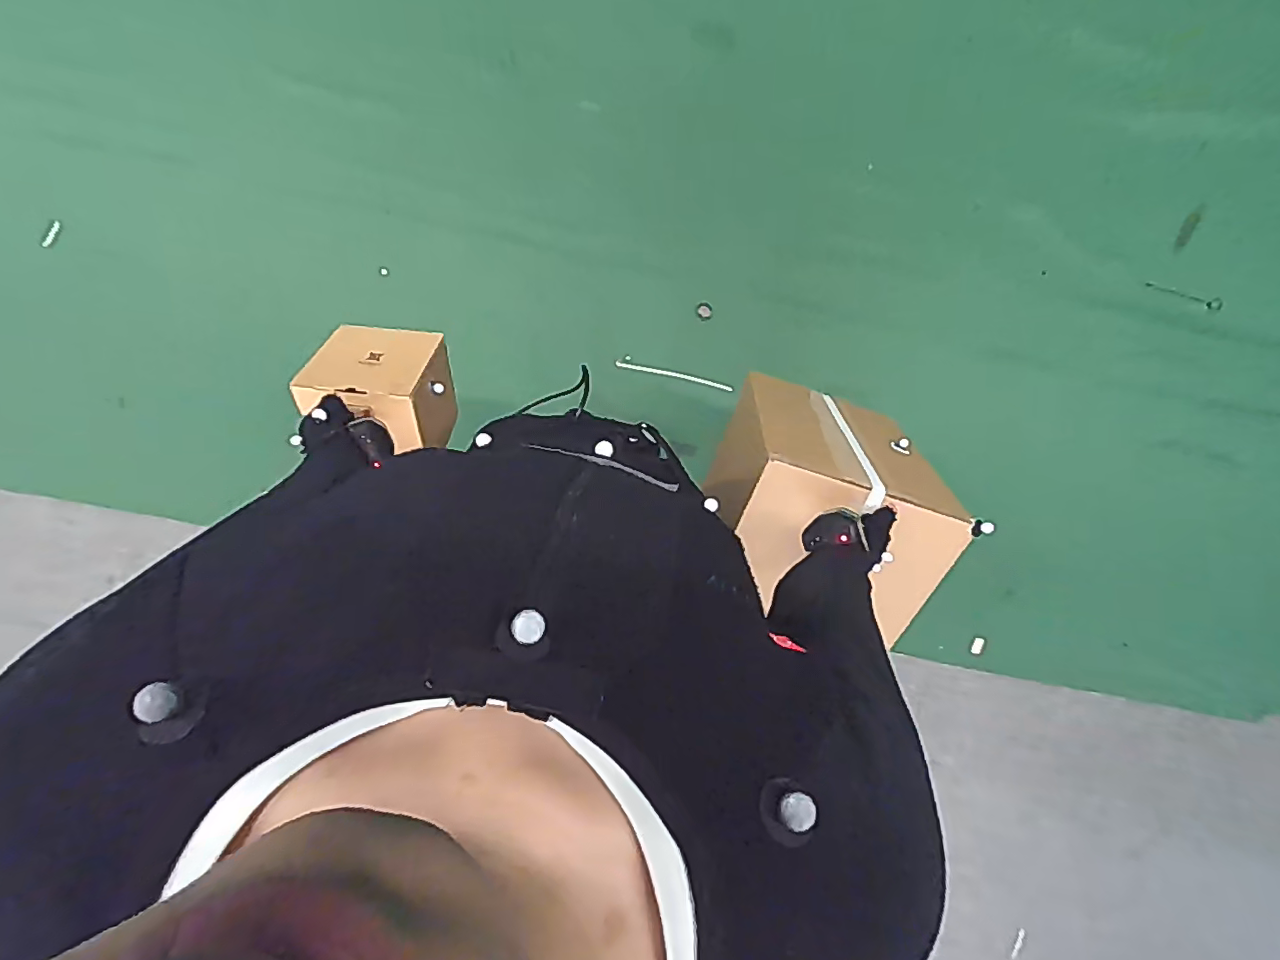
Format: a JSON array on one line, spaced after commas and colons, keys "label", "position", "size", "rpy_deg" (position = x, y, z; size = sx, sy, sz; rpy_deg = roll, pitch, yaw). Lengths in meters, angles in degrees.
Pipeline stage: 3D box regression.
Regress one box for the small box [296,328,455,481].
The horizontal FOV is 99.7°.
[{"label": "small box", "position": [-0.408, -0.122, 0.873], "size": [0.168, 0.179, 0.176], "rpy_deg": [4, 134, -3]}]
